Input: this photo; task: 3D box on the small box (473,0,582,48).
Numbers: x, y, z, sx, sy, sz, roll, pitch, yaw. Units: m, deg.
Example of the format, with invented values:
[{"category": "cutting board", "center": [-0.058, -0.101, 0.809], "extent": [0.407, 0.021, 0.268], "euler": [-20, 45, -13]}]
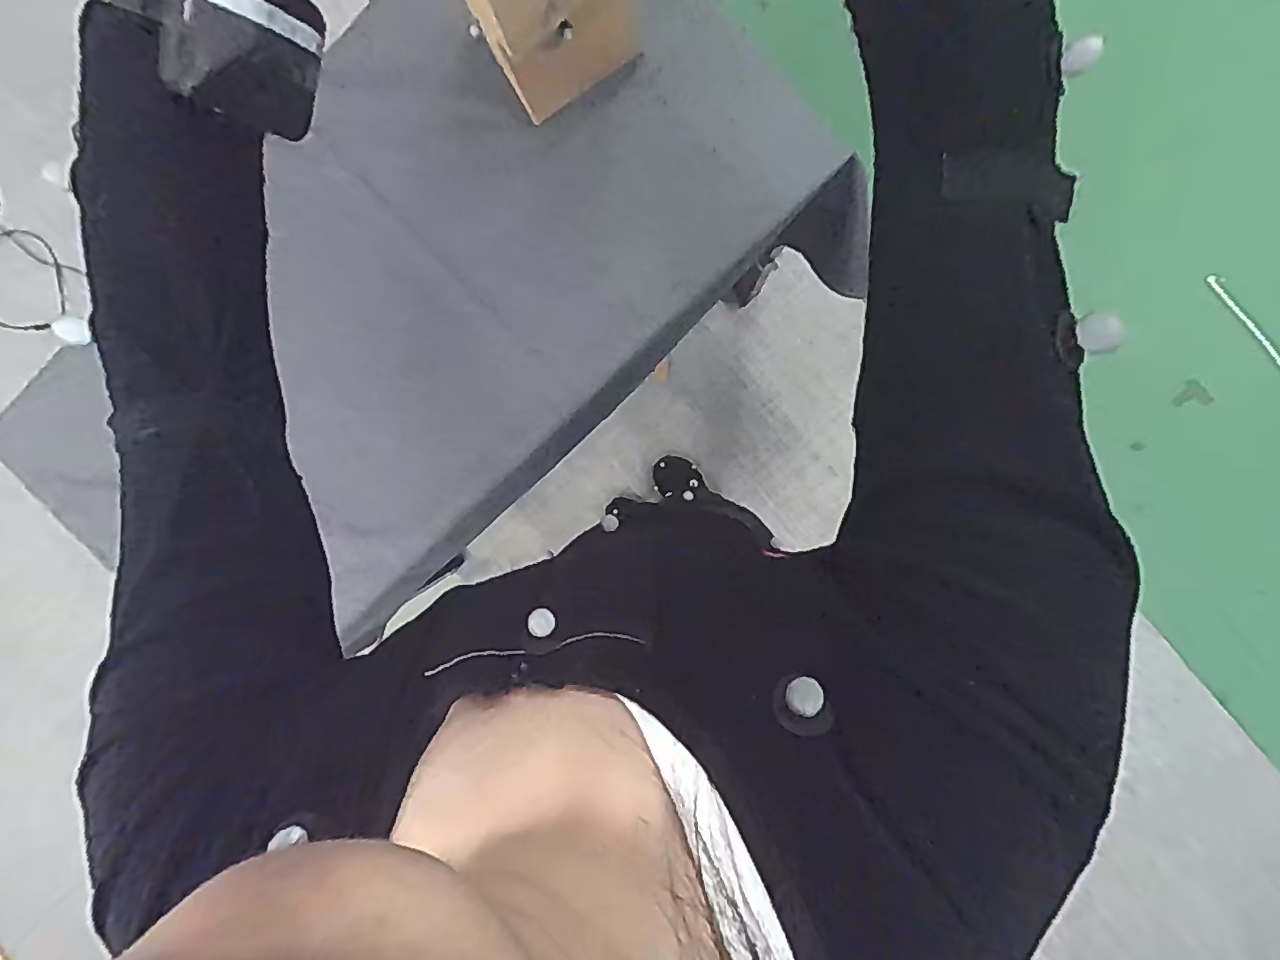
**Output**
[{"category": "small box", "center": [-0.125, -0.553, 0.479], "extent": [0.168, 0.176, 0.179], "euler": [-36, 93, 7]}]

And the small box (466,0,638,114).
[{"category": "small box", "center": [-0.117, -0.588, 0.639], "extent": [0.179, 0.176, 0.168], "euler": [-30, 93, 6]}]
